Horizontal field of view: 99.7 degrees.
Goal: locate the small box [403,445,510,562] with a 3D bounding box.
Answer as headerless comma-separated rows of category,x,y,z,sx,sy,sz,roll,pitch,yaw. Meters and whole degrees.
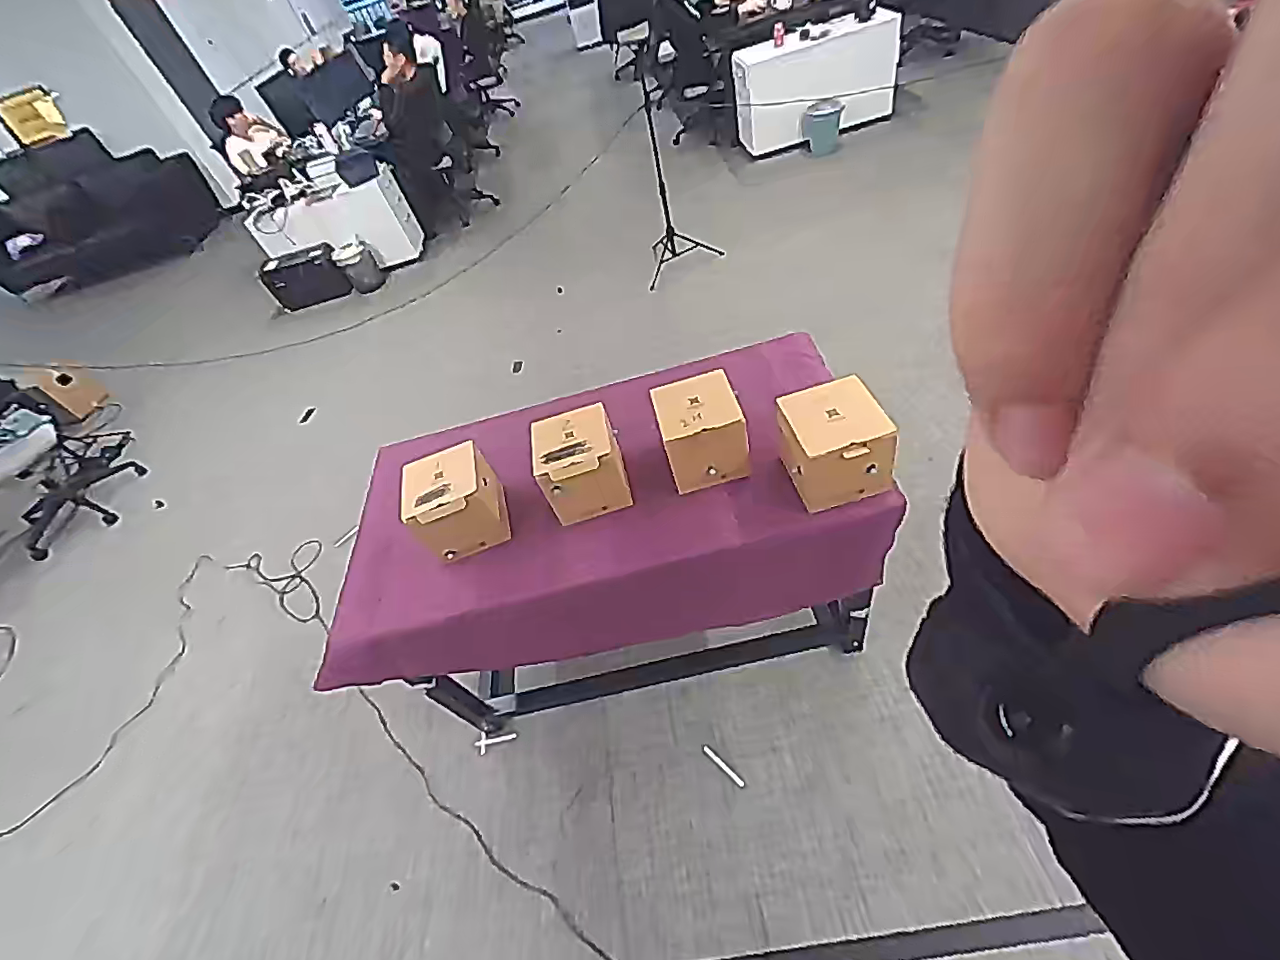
small box,-0.401,0.059,1.196,0.168,0.176,0.179,-22,46,-2

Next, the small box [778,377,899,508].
small box,0.381,-0.065,1.056,0.168,0.176,0.179,-17,46,3

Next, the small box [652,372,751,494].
small box,0.133,-0.098,1.164,0.168,0.176,0.179,-16,47,4
